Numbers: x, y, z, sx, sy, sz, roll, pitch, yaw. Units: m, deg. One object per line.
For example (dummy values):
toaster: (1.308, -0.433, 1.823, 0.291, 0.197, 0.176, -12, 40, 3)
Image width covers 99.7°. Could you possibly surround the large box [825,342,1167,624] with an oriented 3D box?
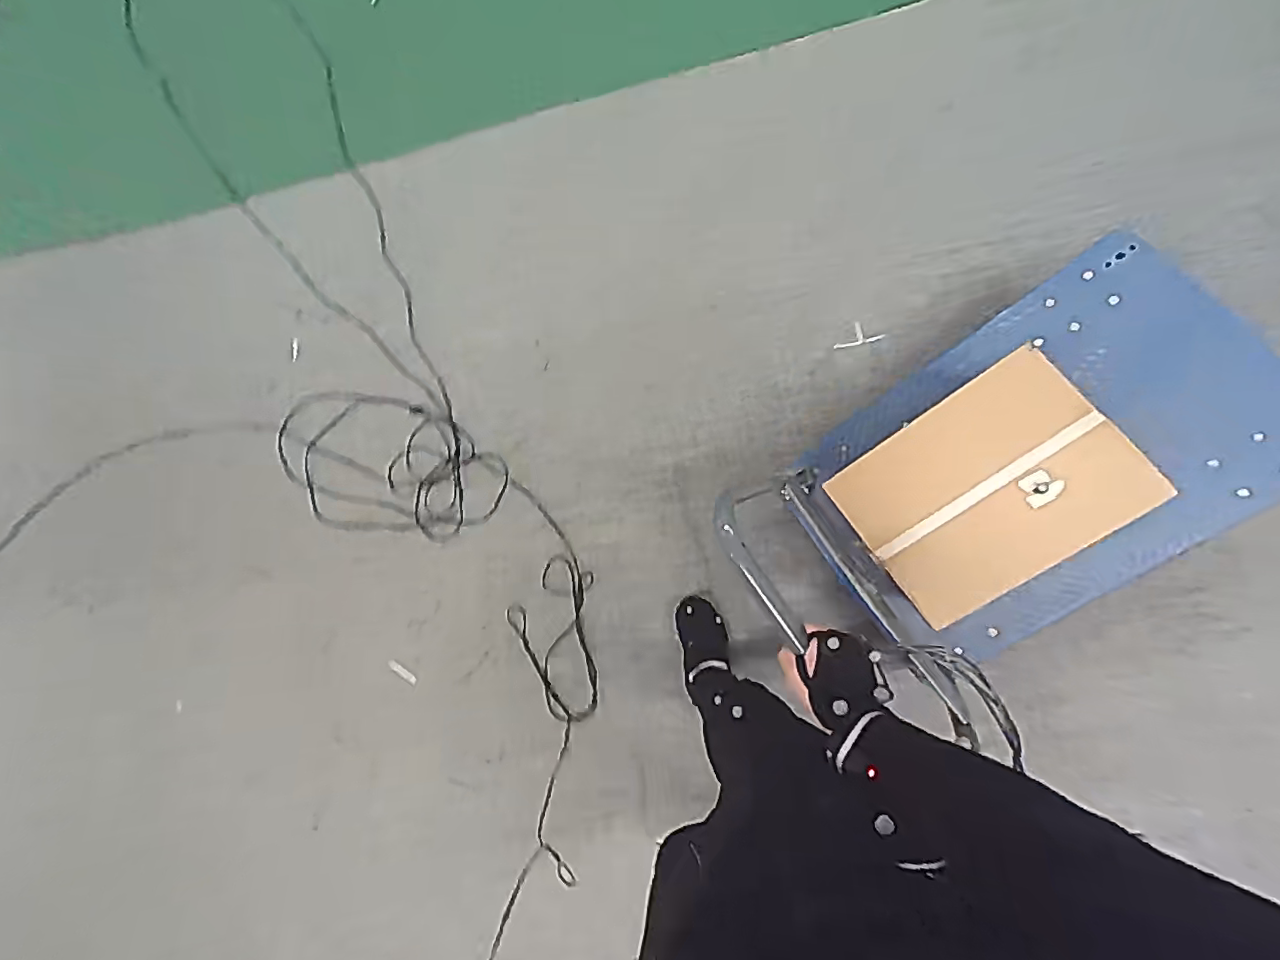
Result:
large box: (0.623, 0.018, 1.043, 0.408, 0.320, 0.320, -38, 75, 15)
